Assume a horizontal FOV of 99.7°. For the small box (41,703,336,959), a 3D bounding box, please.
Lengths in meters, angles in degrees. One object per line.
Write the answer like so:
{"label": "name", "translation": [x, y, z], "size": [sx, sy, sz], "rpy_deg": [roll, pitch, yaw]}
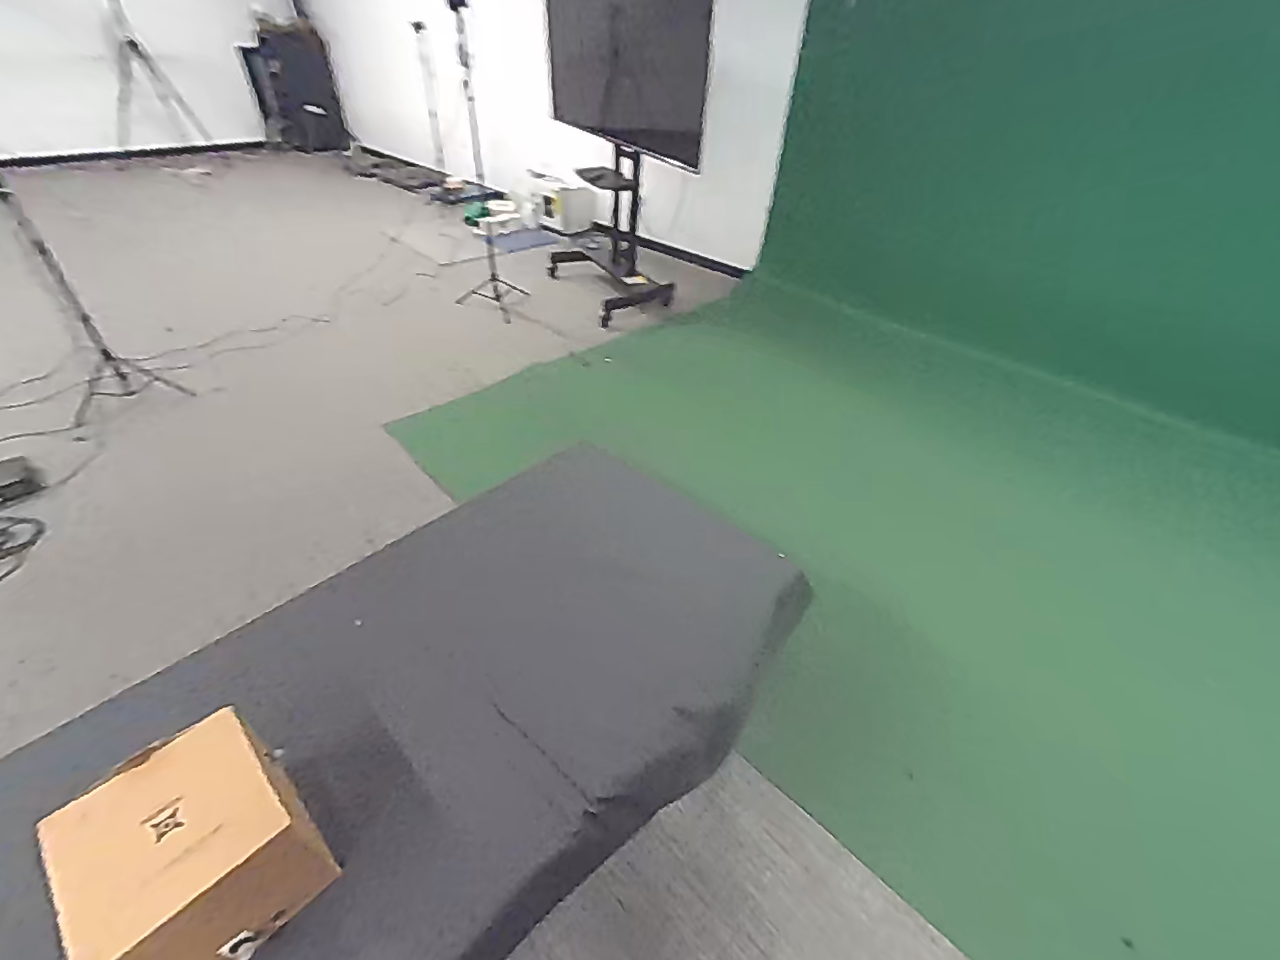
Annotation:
{"label": "small box", "translation": [-0.460, 0.386, 0.572], "size": [0.179, 0.176, 0.168], "rpy_deg": [33, 48, 29]}
